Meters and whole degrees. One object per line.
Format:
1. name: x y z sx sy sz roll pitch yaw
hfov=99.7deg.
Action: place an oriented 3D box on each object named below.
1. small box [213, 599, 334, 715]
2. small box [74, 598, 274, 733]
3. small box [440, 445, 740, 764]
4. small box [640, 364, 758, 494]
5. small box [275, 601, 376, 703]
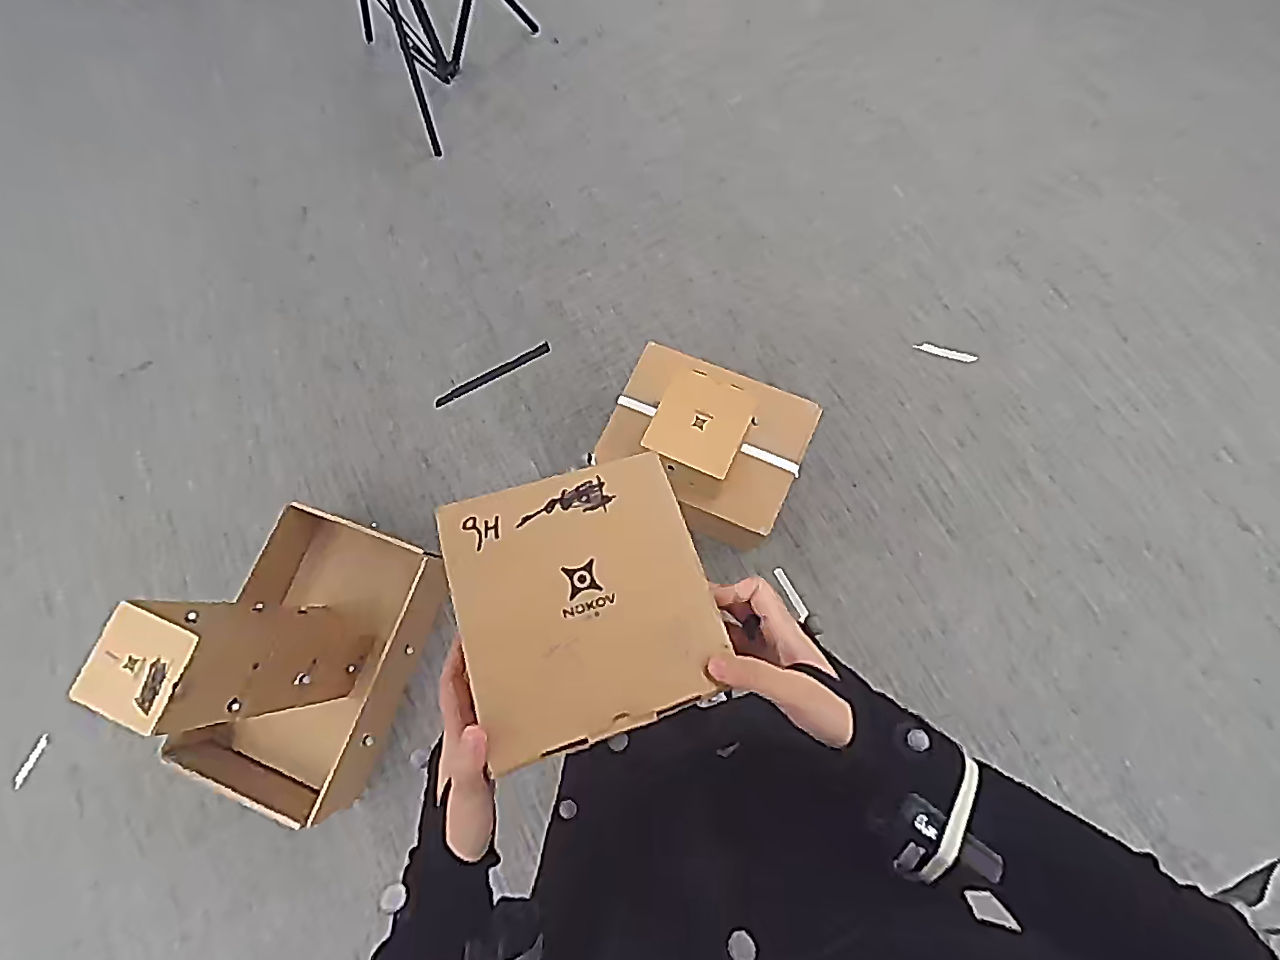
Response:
1. small box: -0.784 0.357 1.112 0.179 0.176 0.168 20 79 9
2. small box: -0.803 0.316 0.954 0.179 0.176 0.168 19 78 11
3. small box: -0.044 0.099 0.434 0.168 0.176 0.179 -15 70 -14
4. small box: 0.115 -0.090 1.052 0.168 0.176 0.179 24 79 10
5. small box: -0.770 0.399 1.268 0.179 0.176 0.168 22 79 10
